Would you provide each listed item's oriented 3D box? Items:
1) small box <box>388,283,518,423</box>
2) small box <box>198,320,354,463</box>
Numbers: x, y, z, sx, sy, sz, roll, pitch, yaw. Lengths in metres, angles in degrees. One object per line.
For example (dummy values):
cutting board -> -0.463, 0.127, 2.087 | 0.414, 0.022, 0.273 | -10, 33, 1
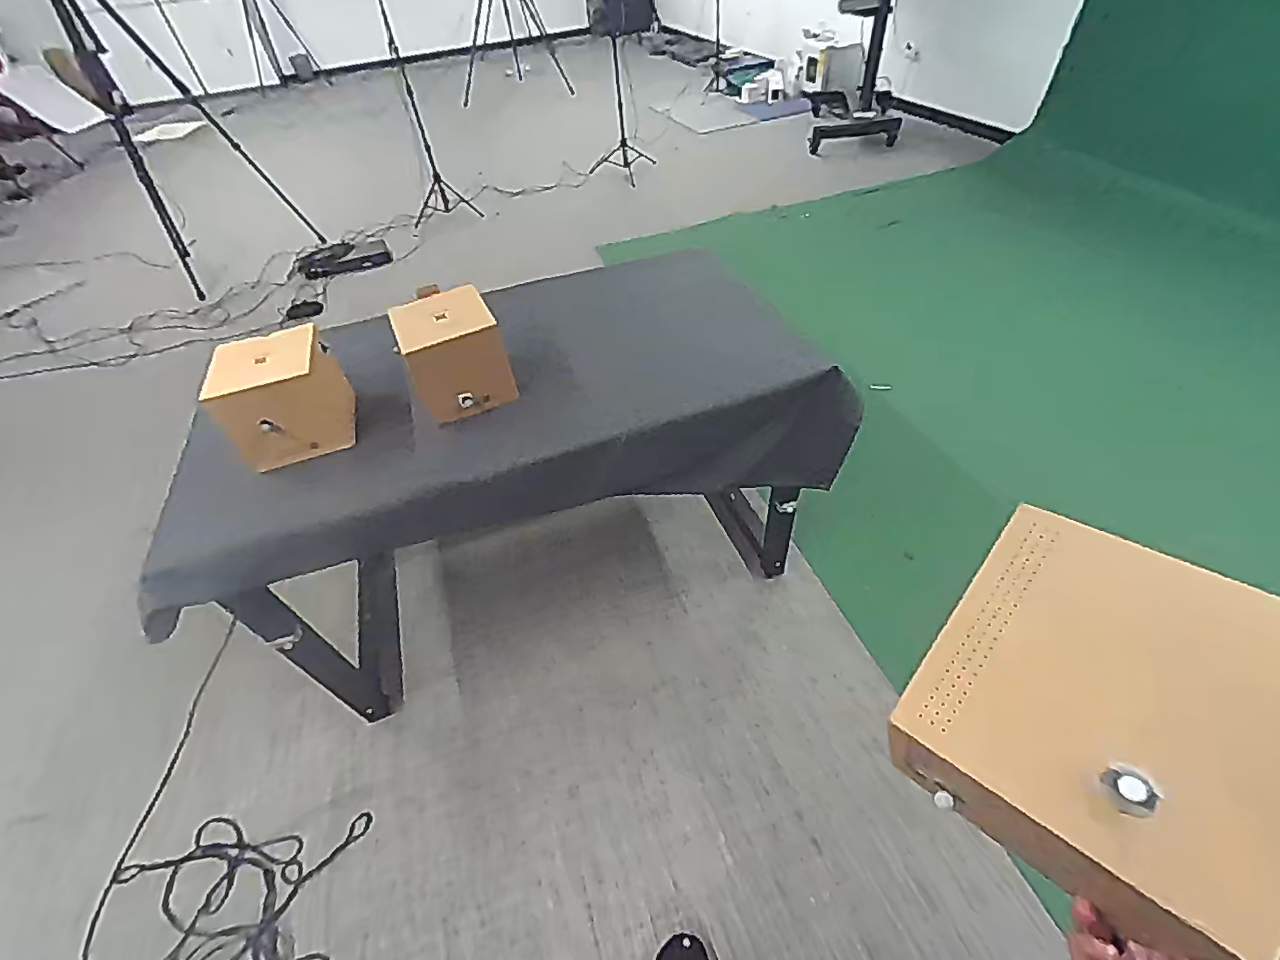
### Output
small box -> -0.347, -0.238, 1.013 | 0.168, 0.176, 0.179 | -24, 50, -14
small box -> -0.628, -0.151, 0.959 | 0.168, 0.176, 0.179 | -18, 47, -11
